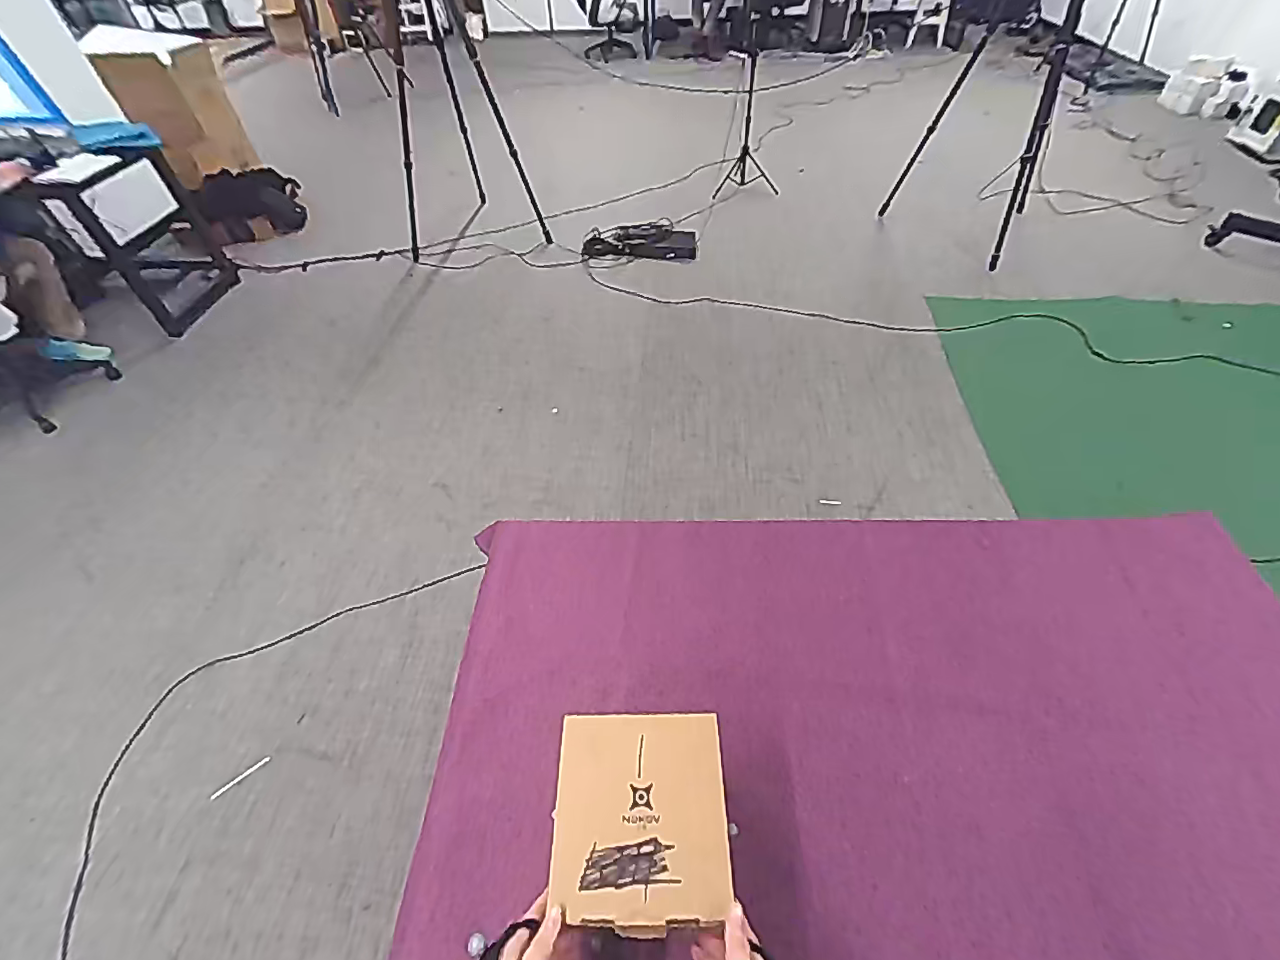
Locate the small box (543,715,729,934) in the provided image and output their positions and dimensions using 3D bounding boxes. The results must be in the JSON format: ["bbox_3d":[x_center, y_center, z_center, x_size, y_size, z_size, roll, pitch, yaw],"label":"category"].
[{"bbox_3d":[0.002,0.369,0.578,0.168,0.176,0.179,-1,47,2],"label":"small box"}]
